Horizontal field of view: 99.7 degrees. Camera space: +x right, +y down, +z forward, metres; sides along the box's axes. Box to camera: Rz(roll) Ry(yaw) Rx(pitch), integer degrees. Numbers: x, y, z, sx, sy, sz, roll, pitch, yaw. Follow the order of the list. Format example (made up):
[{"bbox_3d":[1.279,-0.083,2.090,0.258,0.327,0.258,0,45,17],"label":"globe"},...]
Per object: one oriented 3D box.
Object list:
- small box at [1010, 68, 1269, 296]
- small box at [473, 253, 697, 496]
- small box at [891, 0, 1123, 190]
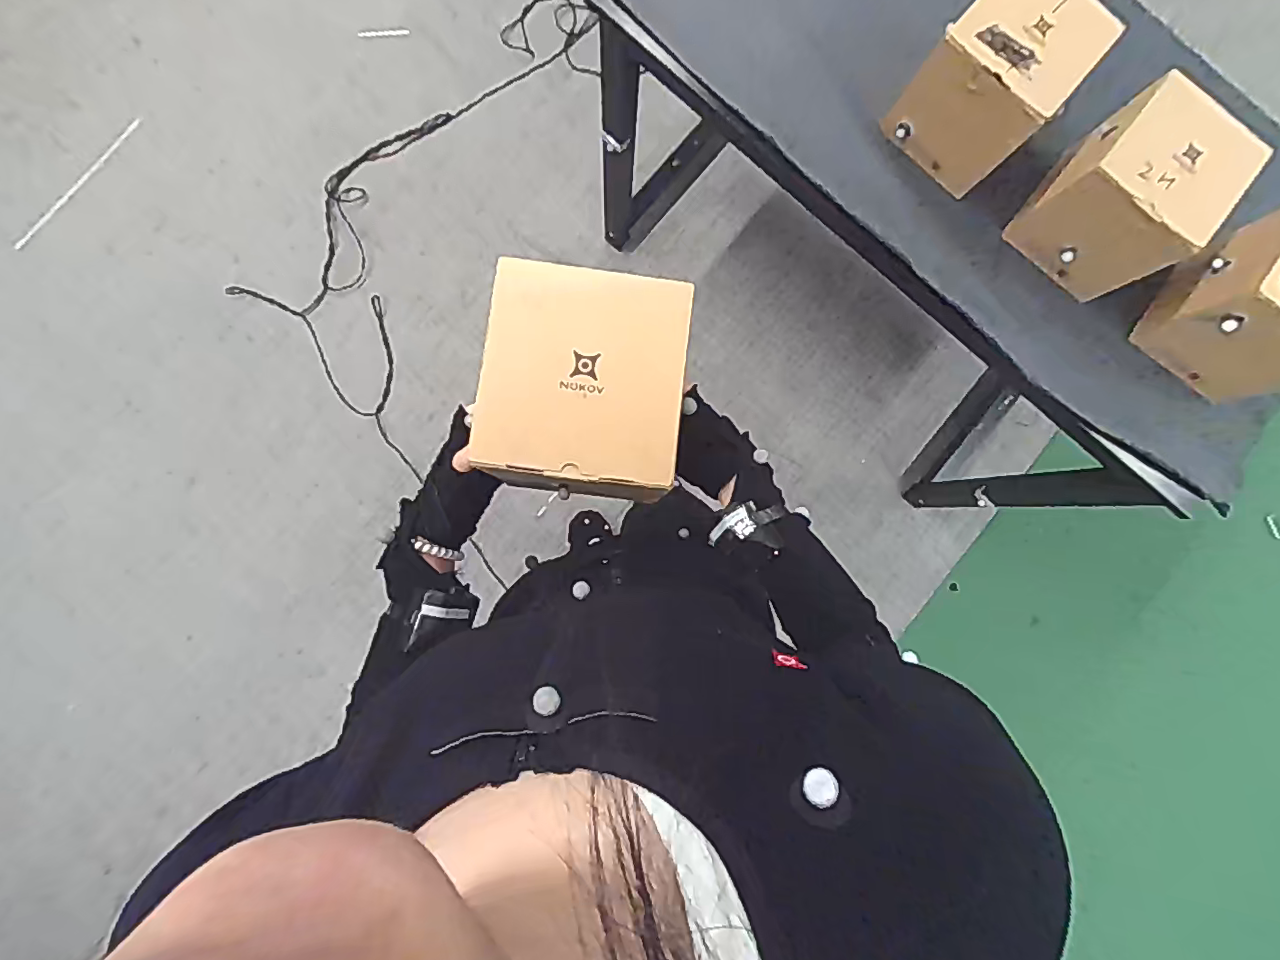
[{"bbox_3d":[0.668,-0.395,0.747,0.168,0.176,0.179,39,85,0],"label":"small box"},{"bbox_3d":[-0.048,-0.084,0.516,0.168,0.176,0.179,6,85,-3],"label":"small box"},{"bbox_3d":[0.482,-0.550,0.745,0.168,0.176,0.179,41,84,-1],"label":"small box"}]
